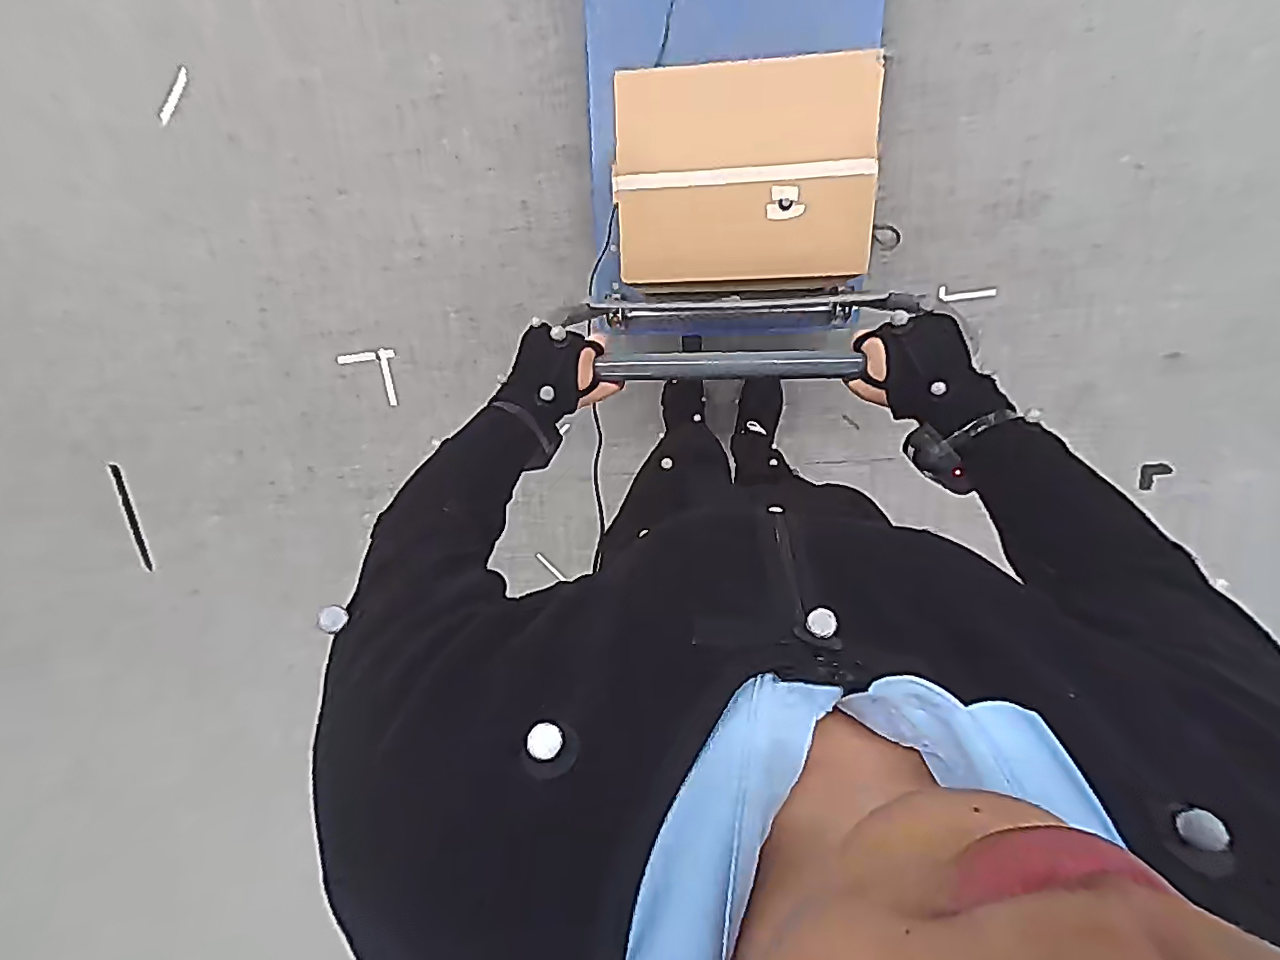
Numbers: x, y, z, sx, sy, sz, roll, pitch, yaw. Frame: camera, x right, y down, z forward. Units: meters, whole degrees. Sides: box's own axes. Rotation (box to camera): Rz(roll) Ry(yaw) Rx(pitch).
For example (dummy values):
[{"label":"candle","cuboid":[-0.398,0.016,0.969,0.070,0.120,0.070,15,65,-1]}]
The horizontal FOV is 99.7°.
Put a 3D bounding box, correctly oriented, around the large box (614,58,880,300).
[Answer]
[{"label":"large box","cuboid":[0.177,-0.510,0.998,0.408,0.320,0.320,0,107,6]}]
